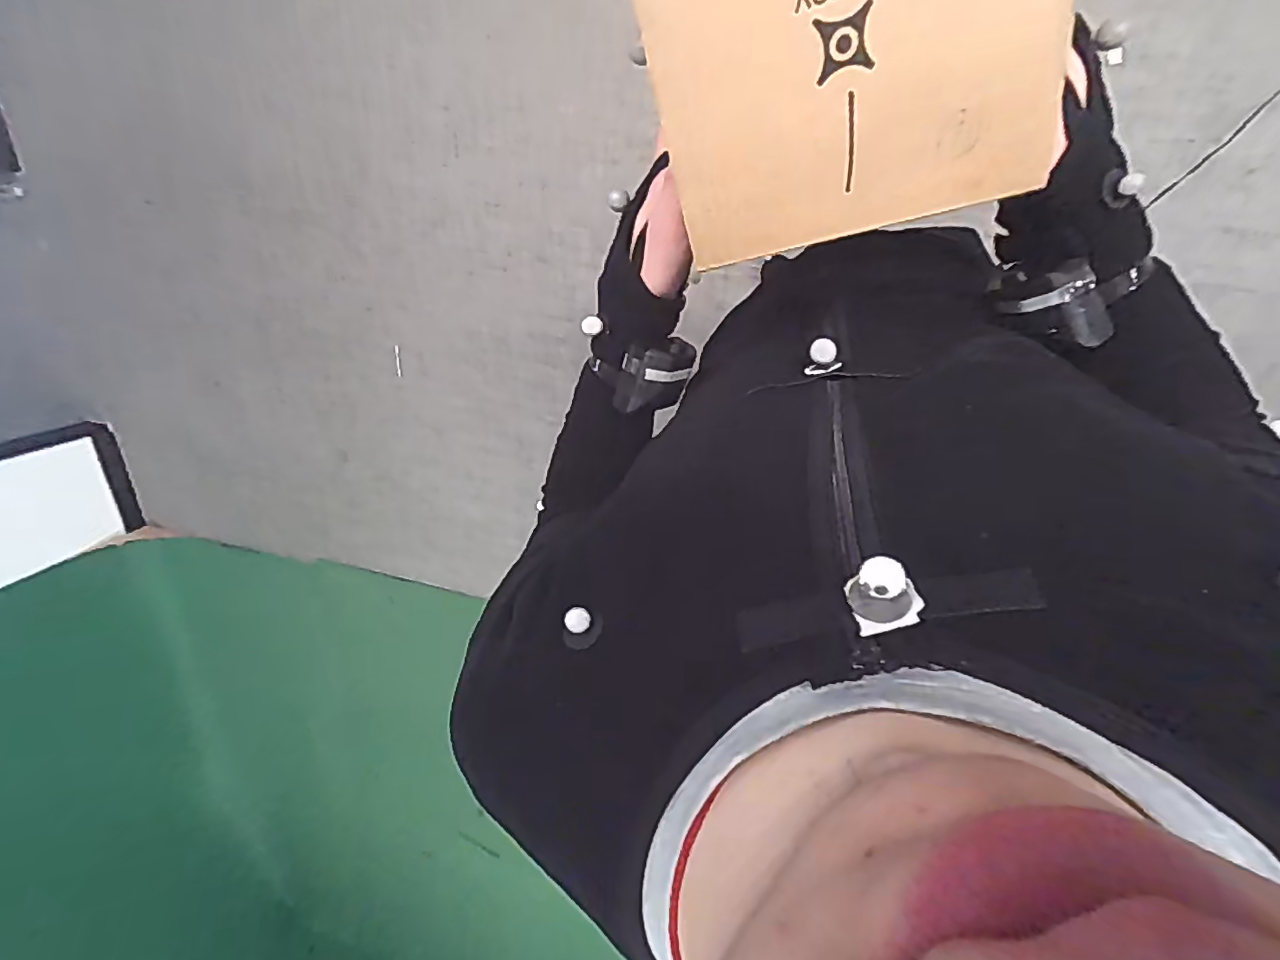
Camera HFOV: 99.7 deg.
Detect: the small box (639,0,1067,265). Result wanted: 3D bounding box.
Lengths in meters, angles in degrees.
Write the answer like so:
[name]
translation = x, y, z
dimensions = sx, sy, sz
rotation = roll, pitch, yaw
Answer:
[small box]
translation = 0.093, -0.241, 0.280
dimensions = 0.168, 0.176, 0.179
rotation = -6, 130, 16
